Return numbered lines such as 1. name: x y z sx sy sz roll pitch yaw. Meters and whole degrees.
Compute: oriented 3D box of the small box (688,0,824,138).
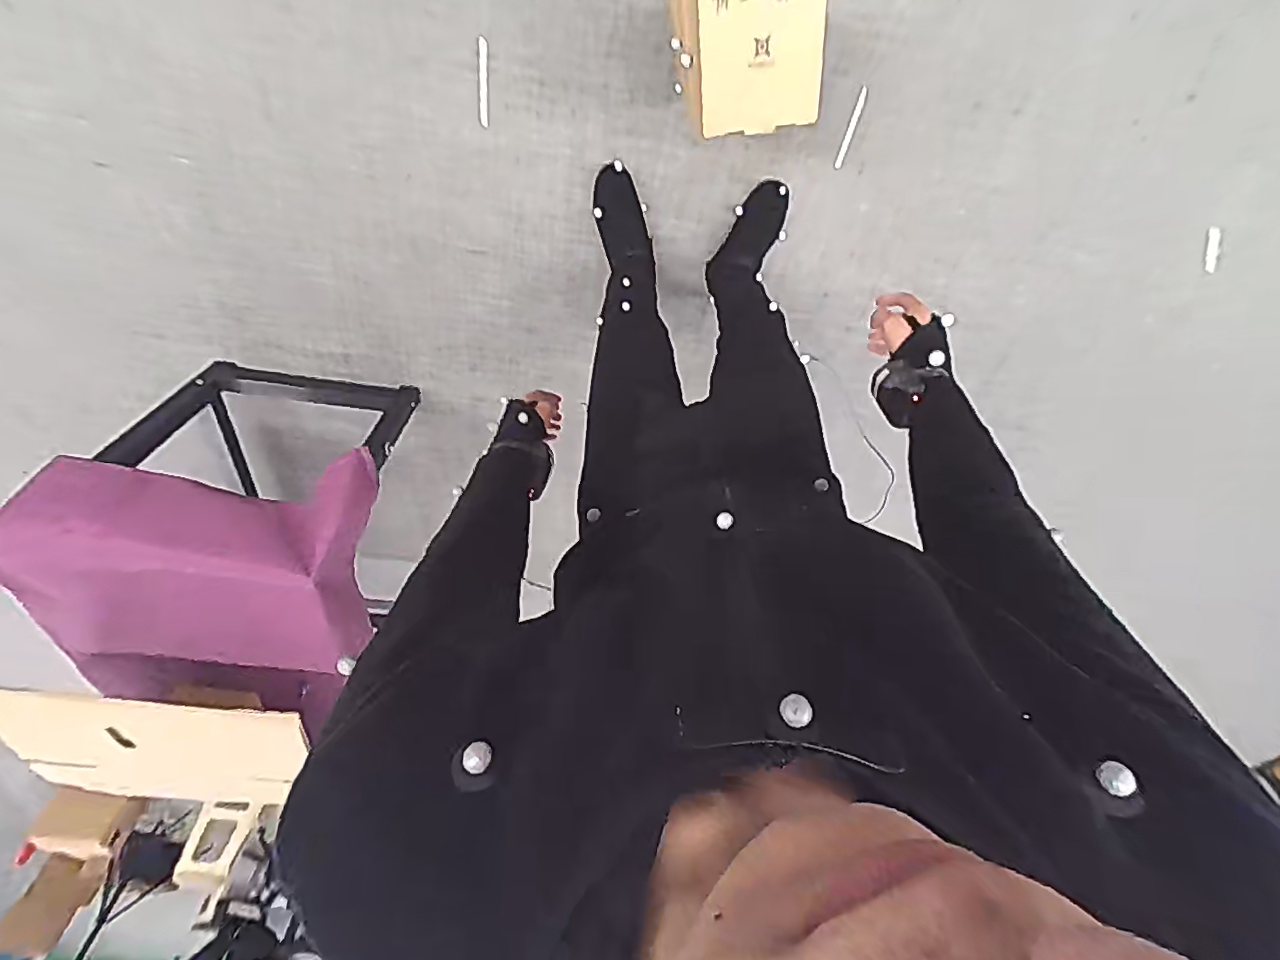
1. small box: 0.160 -0.627 0.793 0.168 0.176 0.179 -5 131 4
